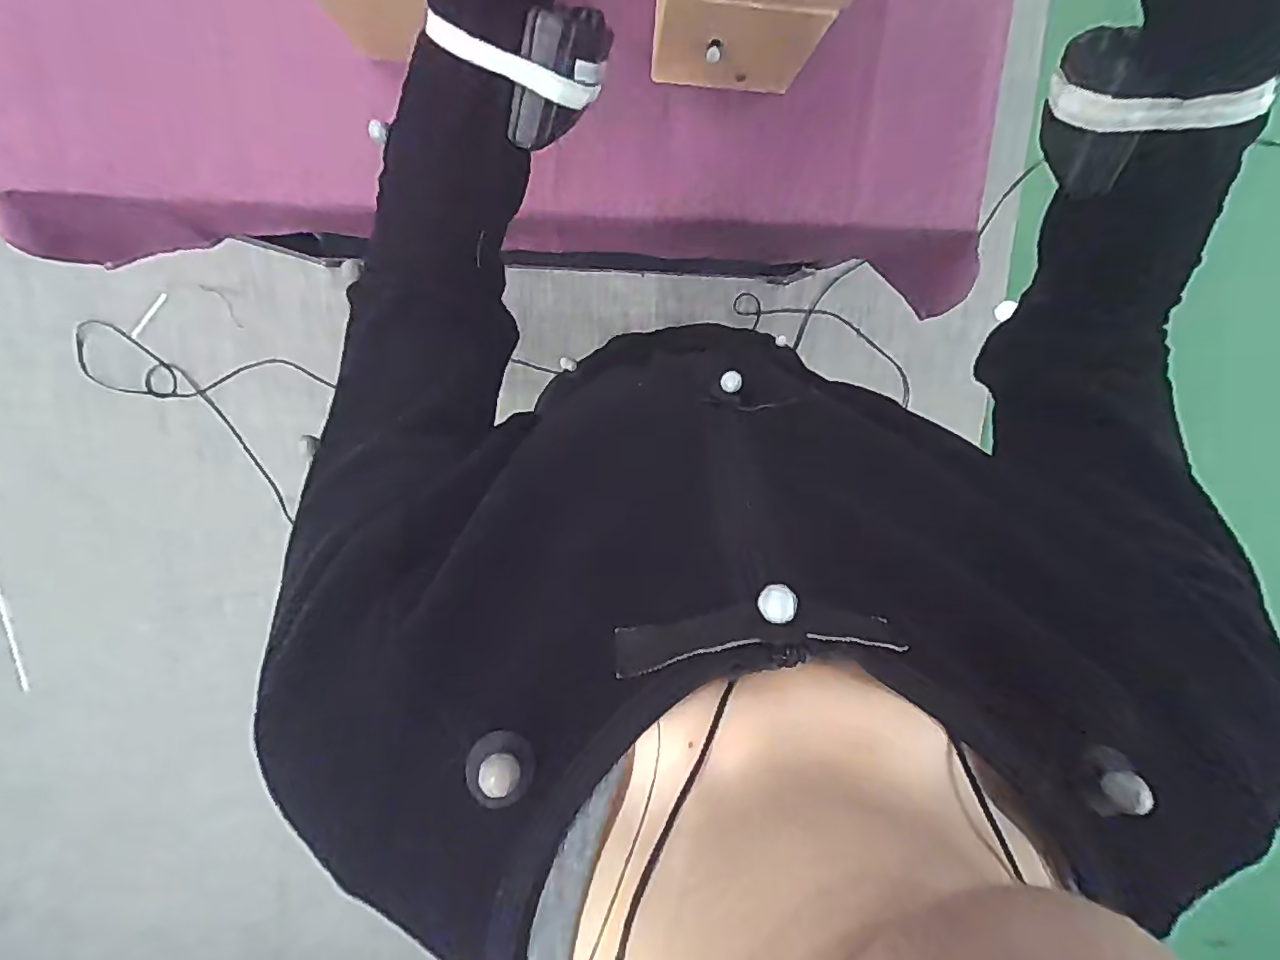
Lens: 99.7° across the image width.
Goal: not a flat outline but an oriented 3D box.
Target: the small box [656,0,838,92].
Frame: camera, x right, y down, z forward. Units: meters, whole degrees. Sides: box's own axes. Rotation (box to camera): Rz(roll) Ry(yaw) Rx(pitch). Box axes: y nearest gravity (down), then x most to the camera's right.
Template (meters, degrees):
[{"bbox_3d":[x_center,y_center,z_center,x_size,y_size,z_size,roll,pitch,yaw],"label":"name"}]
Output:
[{"bbox_3d":[0.107,-0.541,0.562,0.168,0.176,0.179,3,102,-3],"label":"small box"}]

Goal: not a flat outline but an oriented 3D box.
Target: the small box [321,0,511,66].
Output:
[{"bbox_3d":[-0.227,-0.552,0.542,0.179,0.176,0.168,2,102,-3],"label":"small box"}]
